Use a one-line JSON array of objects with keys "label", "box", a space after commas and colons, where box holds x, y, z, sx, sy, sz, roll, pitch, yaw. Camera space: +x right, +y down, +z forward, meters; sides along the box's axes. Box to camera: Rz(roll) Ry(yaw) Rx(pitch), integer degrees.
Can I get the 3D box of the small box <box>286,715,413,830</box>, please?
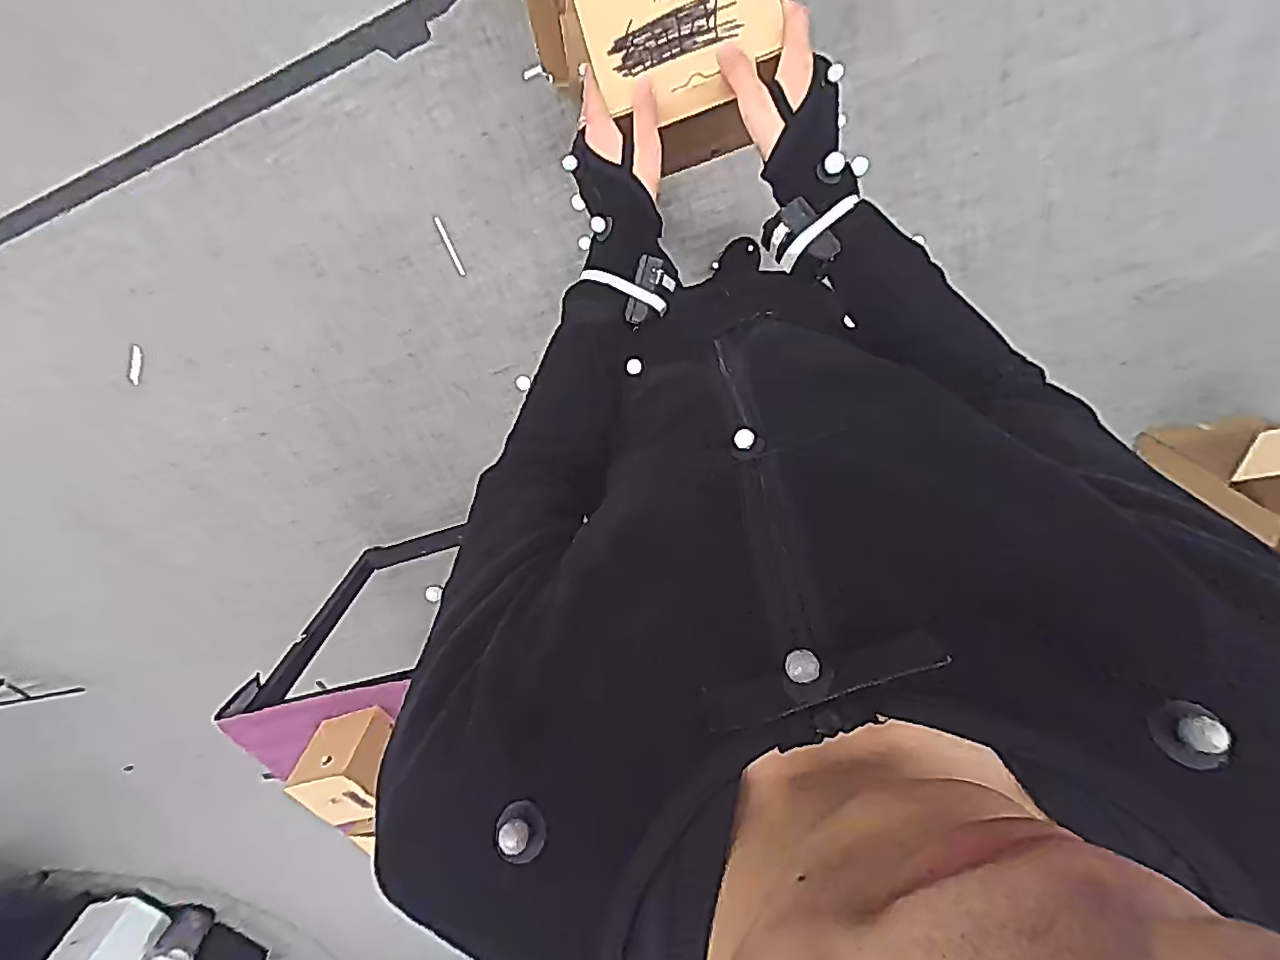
[{"label": "small box", "box": [-0.659, 0.677, 1.261, 0.179, 0.176, 0.168, -20, 118, 15]}]
